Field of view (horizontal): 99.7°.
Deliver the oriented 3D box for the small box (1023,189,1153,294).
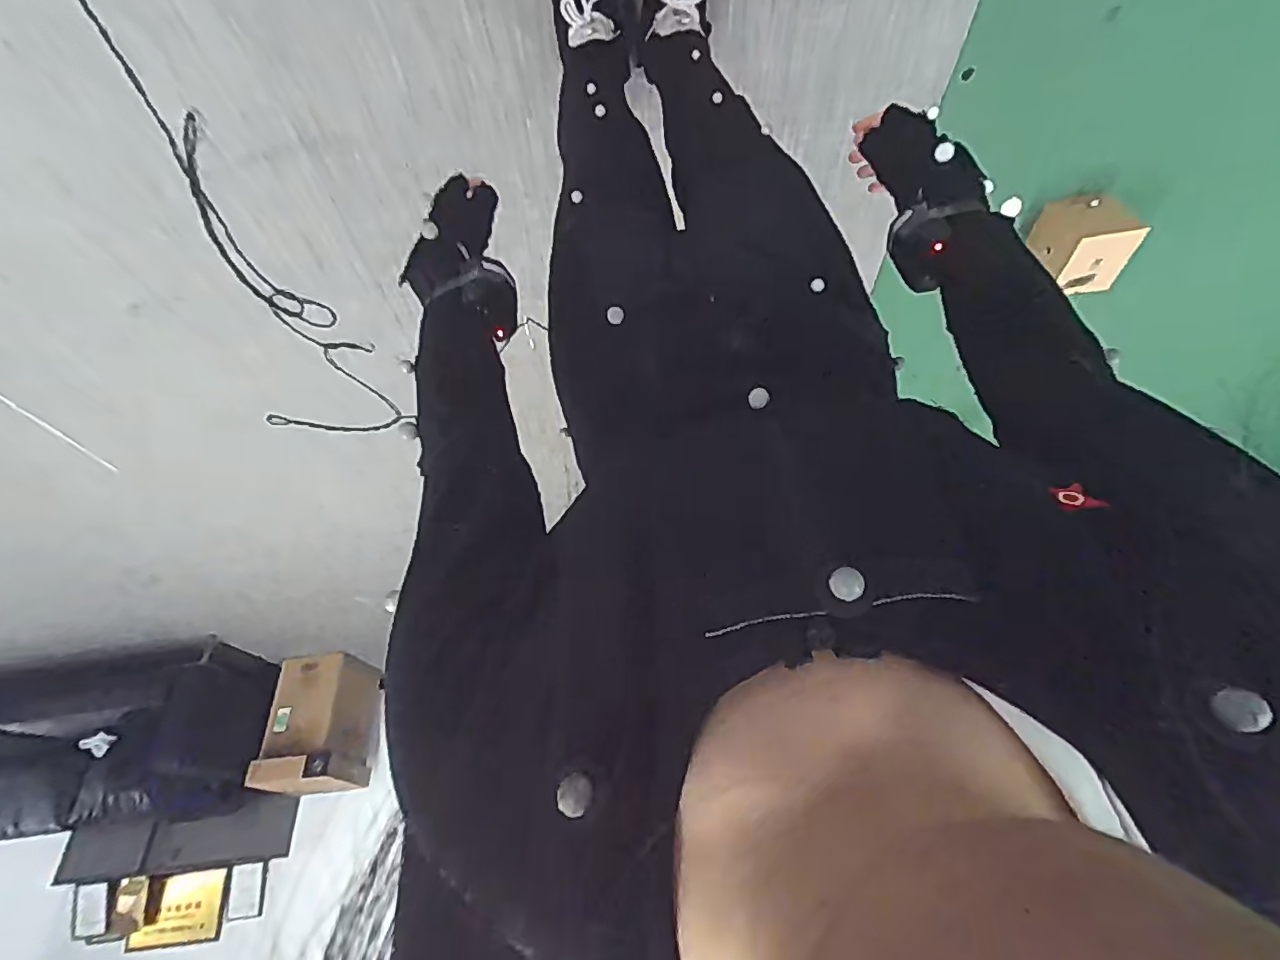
[{"bbox_3d":[1.129,-0.609,1.386,0.168,0.176,0.179,-8,146,2],"label":"small box"}]
